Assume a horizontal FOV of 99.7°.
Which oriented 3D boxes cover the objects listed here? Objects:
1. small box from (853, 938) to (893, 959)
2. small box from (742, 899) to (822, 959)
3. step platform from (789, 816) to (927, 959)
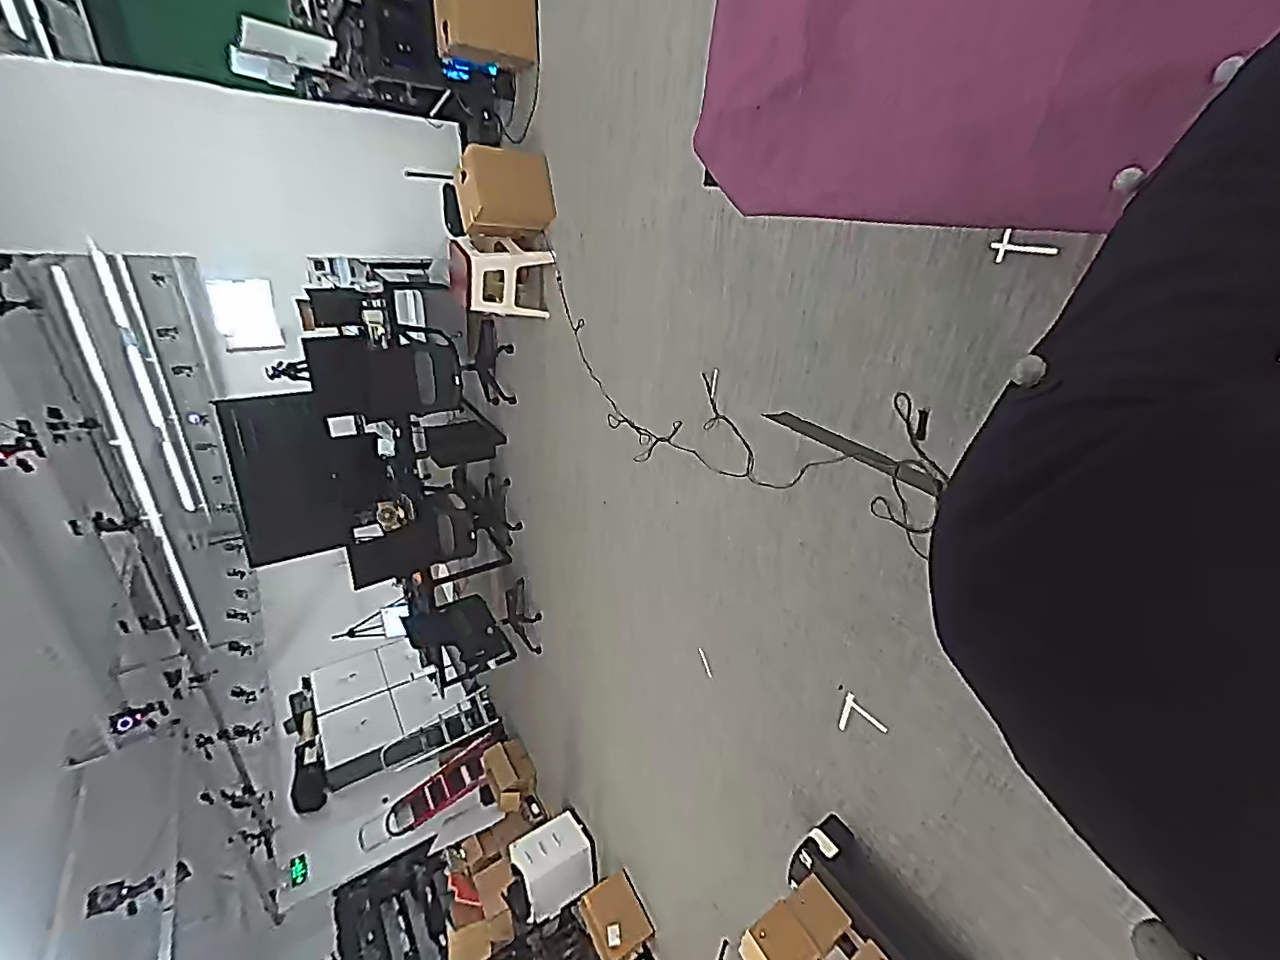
[{"bbox_3d":[0.737,1.614,1.704,0.168,0.176,0.179,38,132,44],"label":"small box"},{"bbox_3d":[0.470,1.548,1.785,0.179,0.176,0.168,40,134,44],"label":"small box"},{"bbox_3d":[0.832,1.557,1.862,0.684,0.204,0.286,36,131,45],"label":"step platform"}]
